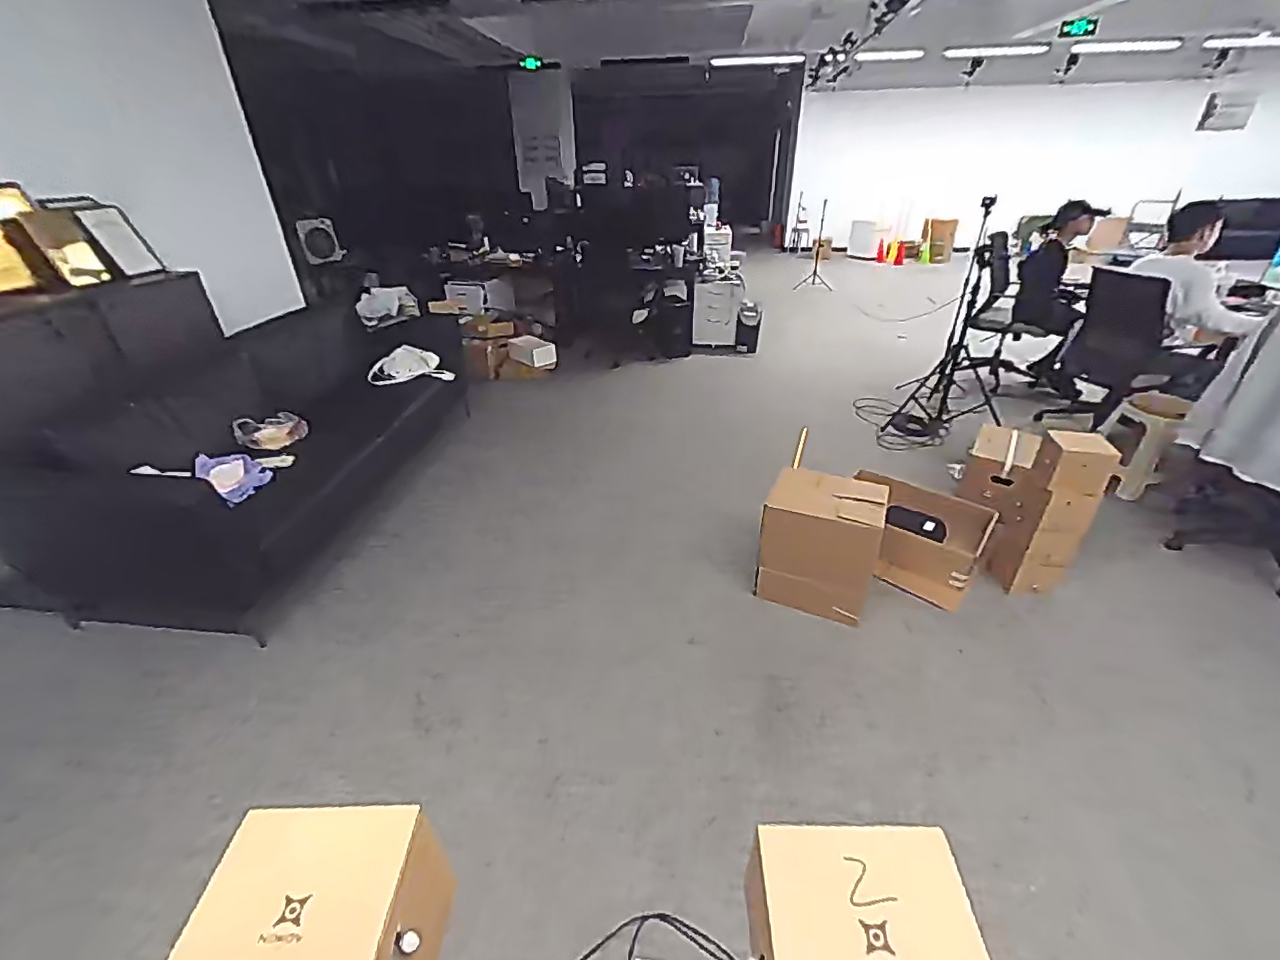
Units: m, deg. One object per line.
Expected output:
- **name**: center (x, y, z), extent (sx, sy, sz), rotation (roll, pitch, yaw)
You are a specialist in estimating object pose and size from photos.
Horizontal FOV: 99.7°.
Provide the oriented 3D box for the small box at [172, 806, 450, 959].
- **small box**: center (-0.285, 0.428, 0.490), extent (0.168, 0.176, 0.179), rotation (0, 34, -1)
